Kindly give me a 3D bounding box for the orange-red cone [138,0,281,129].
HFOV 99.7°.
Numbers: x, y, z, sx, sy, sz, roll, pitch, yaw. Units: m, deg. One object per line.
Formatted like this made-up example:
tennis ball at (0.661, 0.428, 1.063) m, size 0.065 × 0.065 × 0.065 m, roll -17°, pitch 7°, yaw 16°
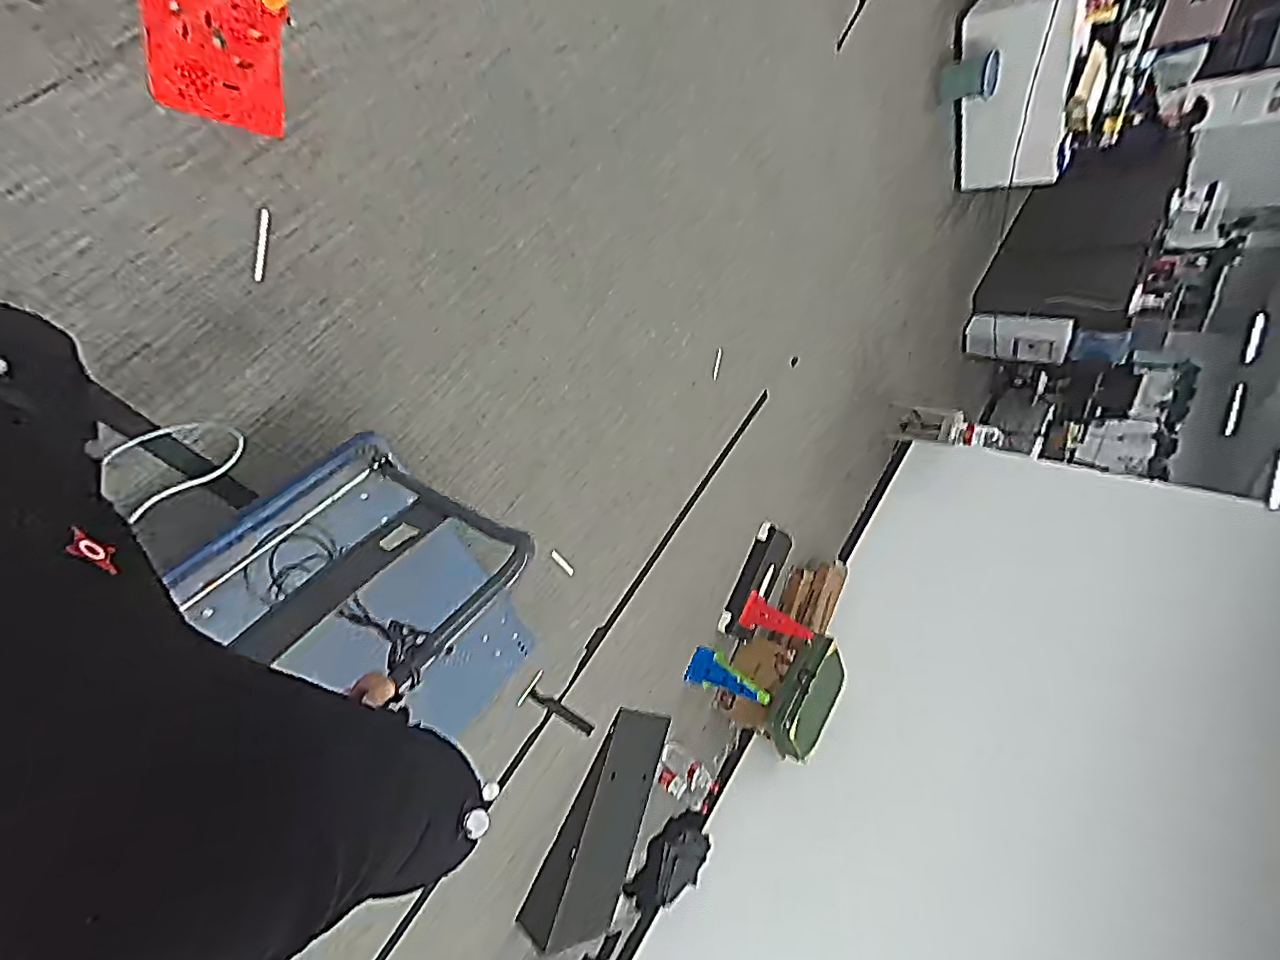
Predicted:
orange-red cone at (-0.641, -0.719, 0.858) m, size 0.198 × 0.360 × 0.199 m, roll -8°, pitch 112°, yaw -47°
